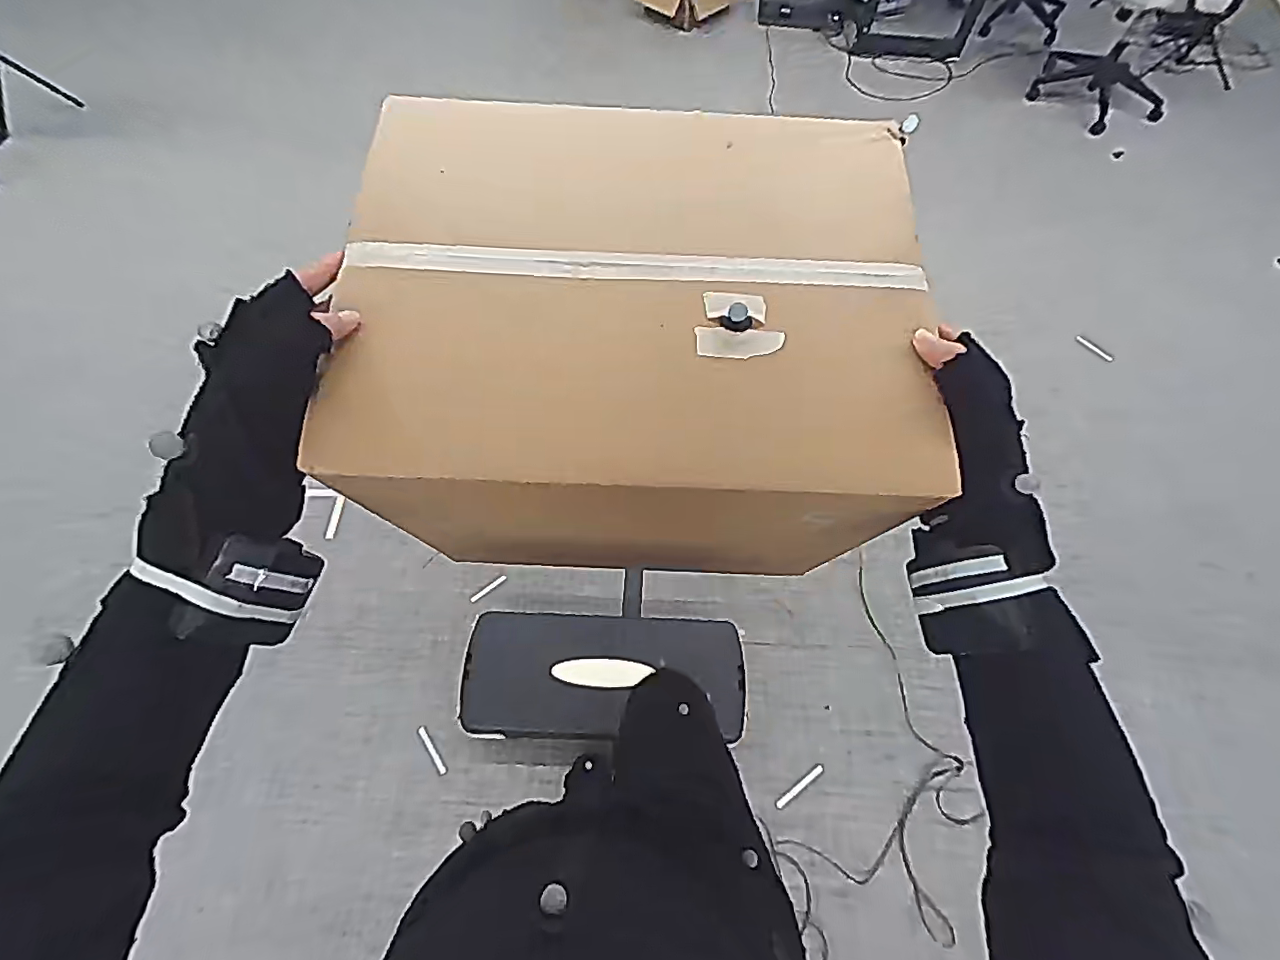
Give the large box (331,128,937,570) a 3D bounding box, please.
[{"bbox_3d":[-0.005,-0.093,0.539,0.408,0.320,0.320,2,71,-1],"label":"large box"}]
